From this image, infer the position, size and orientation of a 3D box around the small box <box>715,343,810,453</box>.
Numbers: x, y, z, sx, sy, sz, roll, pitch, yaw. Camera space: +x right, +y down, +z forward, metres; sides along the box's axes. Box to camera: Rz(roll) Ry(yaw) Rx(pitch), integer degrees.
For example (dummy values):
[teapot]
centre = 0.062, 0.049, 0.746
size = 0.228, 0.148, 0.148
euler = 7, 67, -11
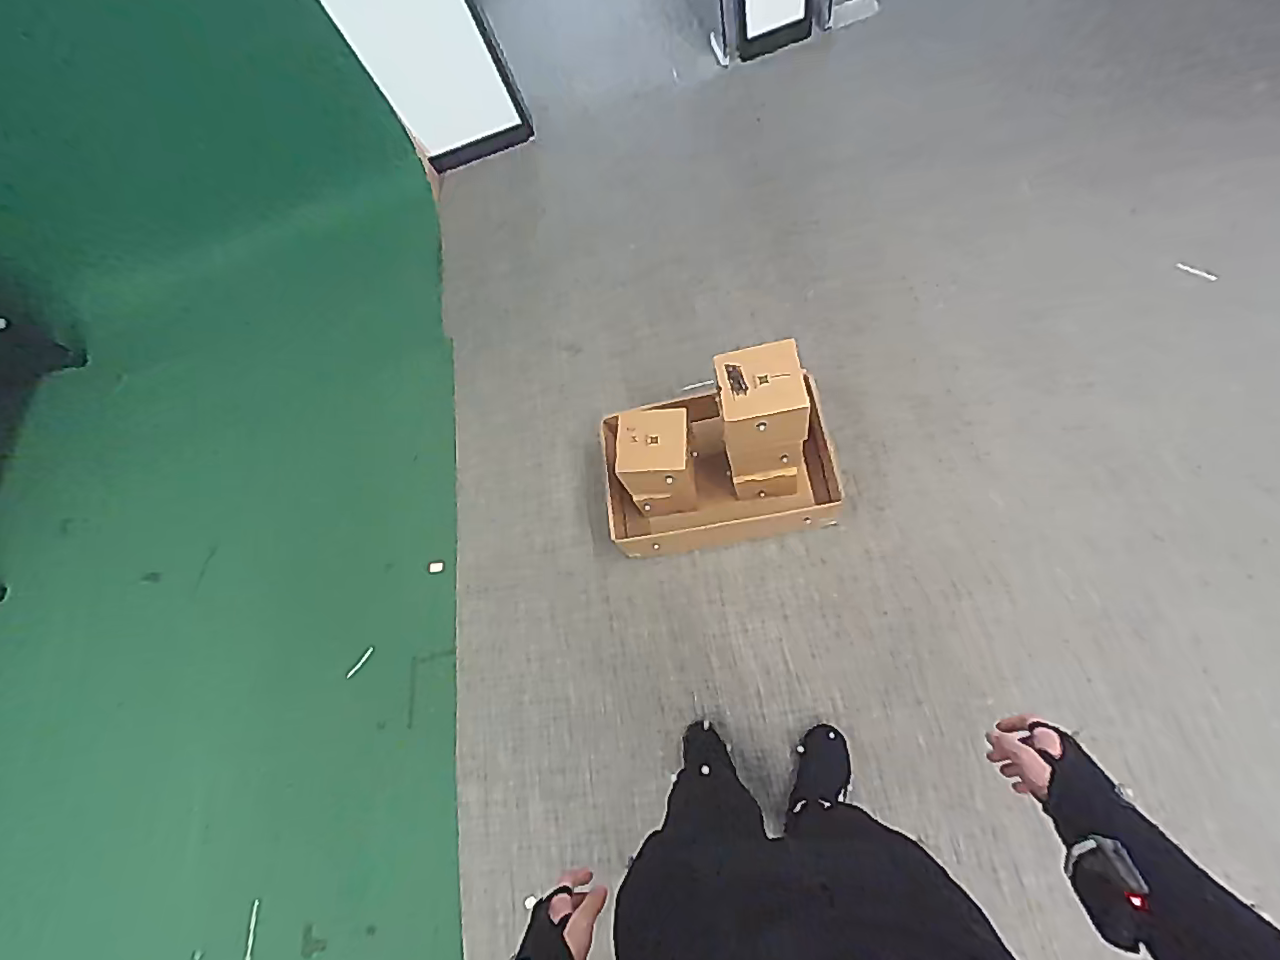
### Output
[small box]
centre = 0.273, -0.172, 1.198
size = 0.179, 0.176, 0.168
euler = -10, 68, 11
